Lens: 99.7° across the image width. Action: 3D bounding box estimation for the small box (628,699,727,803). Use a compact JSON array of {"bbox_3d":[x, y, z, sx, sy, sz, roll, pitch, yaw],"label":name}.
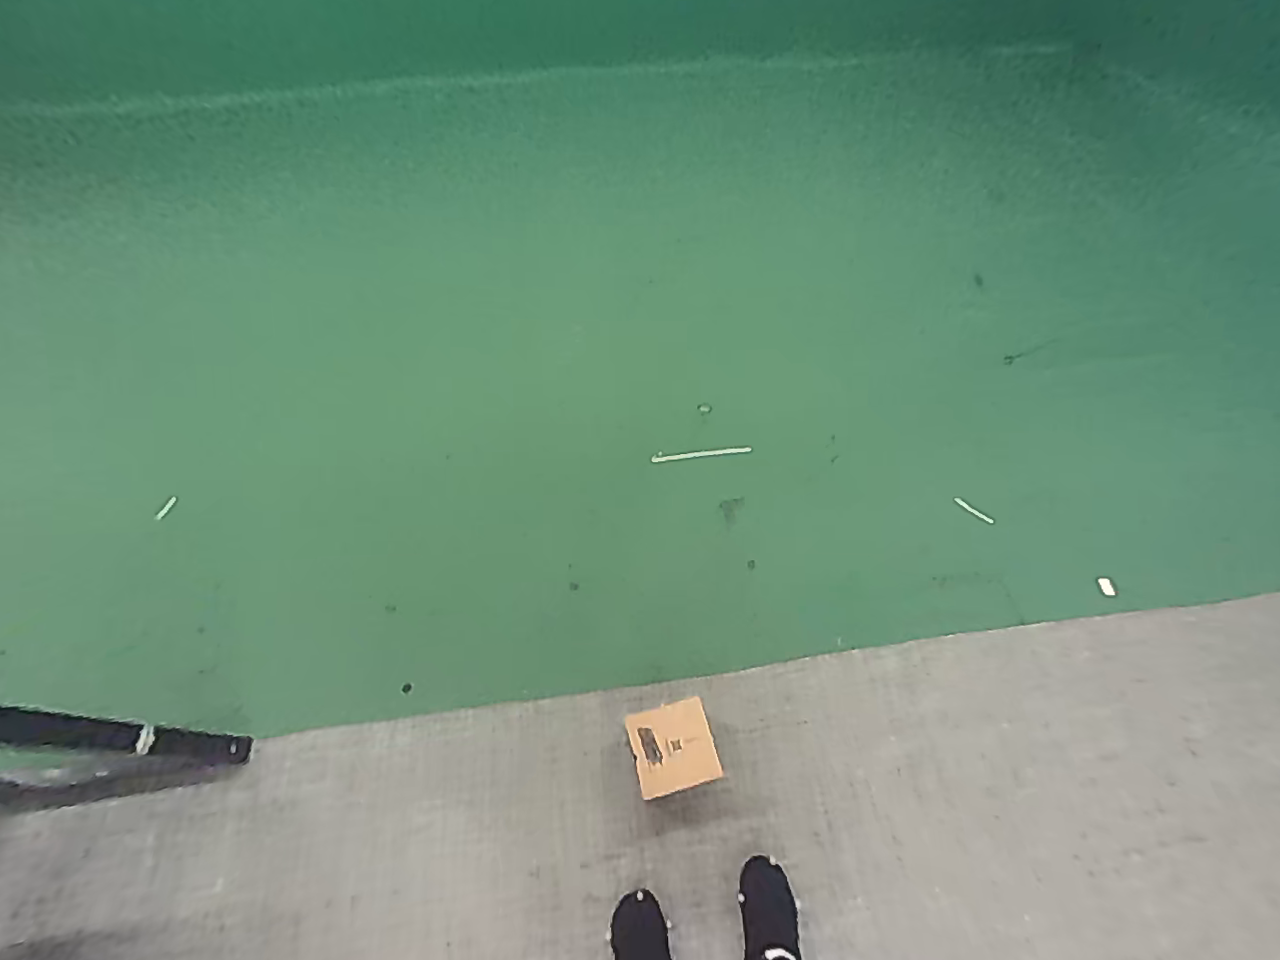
[{"bbox_3d":[0.078,0.605,1.201,0.179,0.176,0.168,-13,61,-8],"label":"small box"}]
